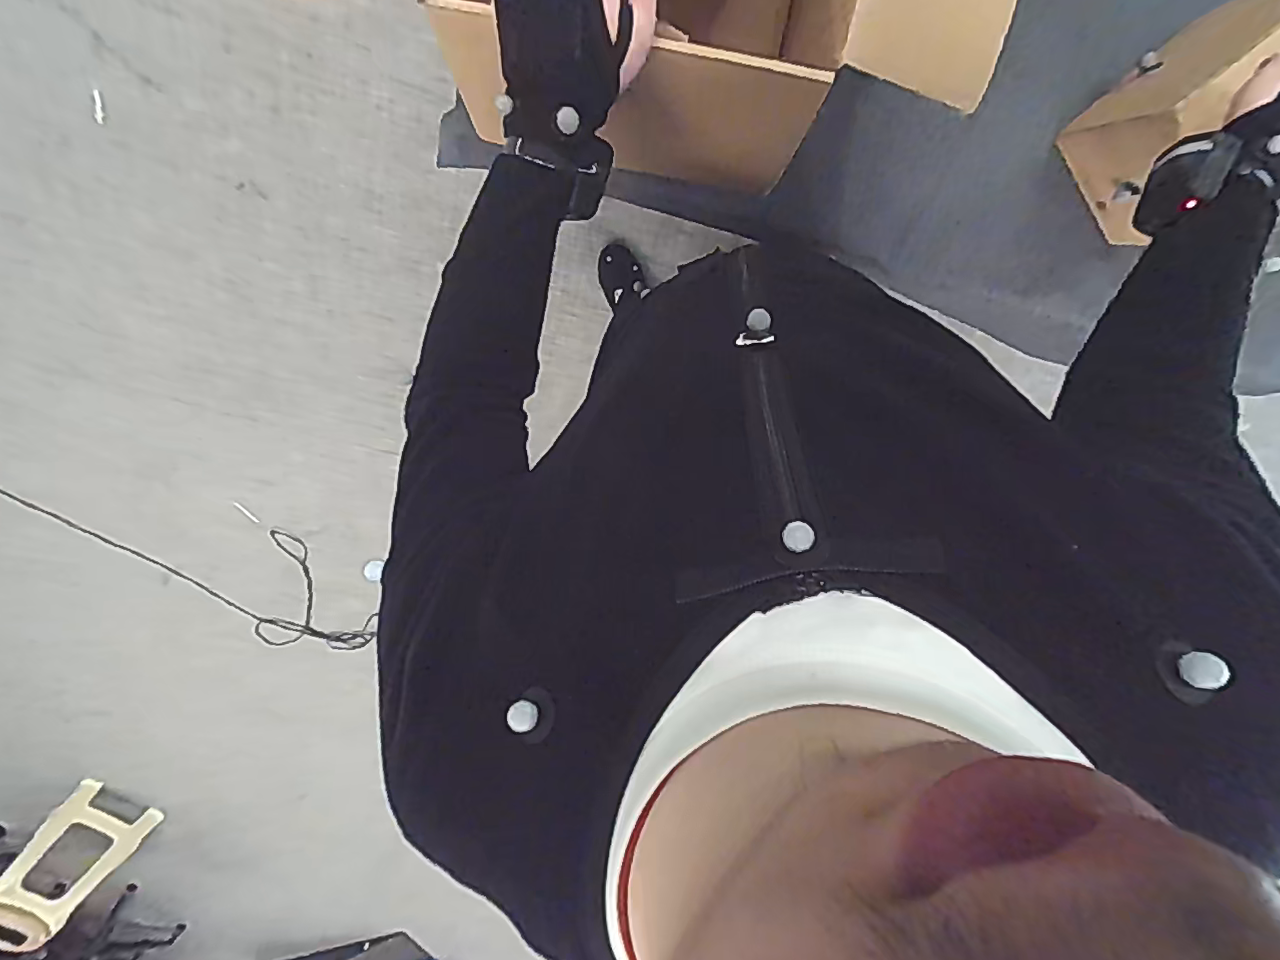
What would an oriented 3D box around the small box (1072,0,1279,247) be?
[{"bbox_3d":[0.621,-0.378,0.584,0.179,0.176,0.168,-39,108,18],"label":"small box"}]
